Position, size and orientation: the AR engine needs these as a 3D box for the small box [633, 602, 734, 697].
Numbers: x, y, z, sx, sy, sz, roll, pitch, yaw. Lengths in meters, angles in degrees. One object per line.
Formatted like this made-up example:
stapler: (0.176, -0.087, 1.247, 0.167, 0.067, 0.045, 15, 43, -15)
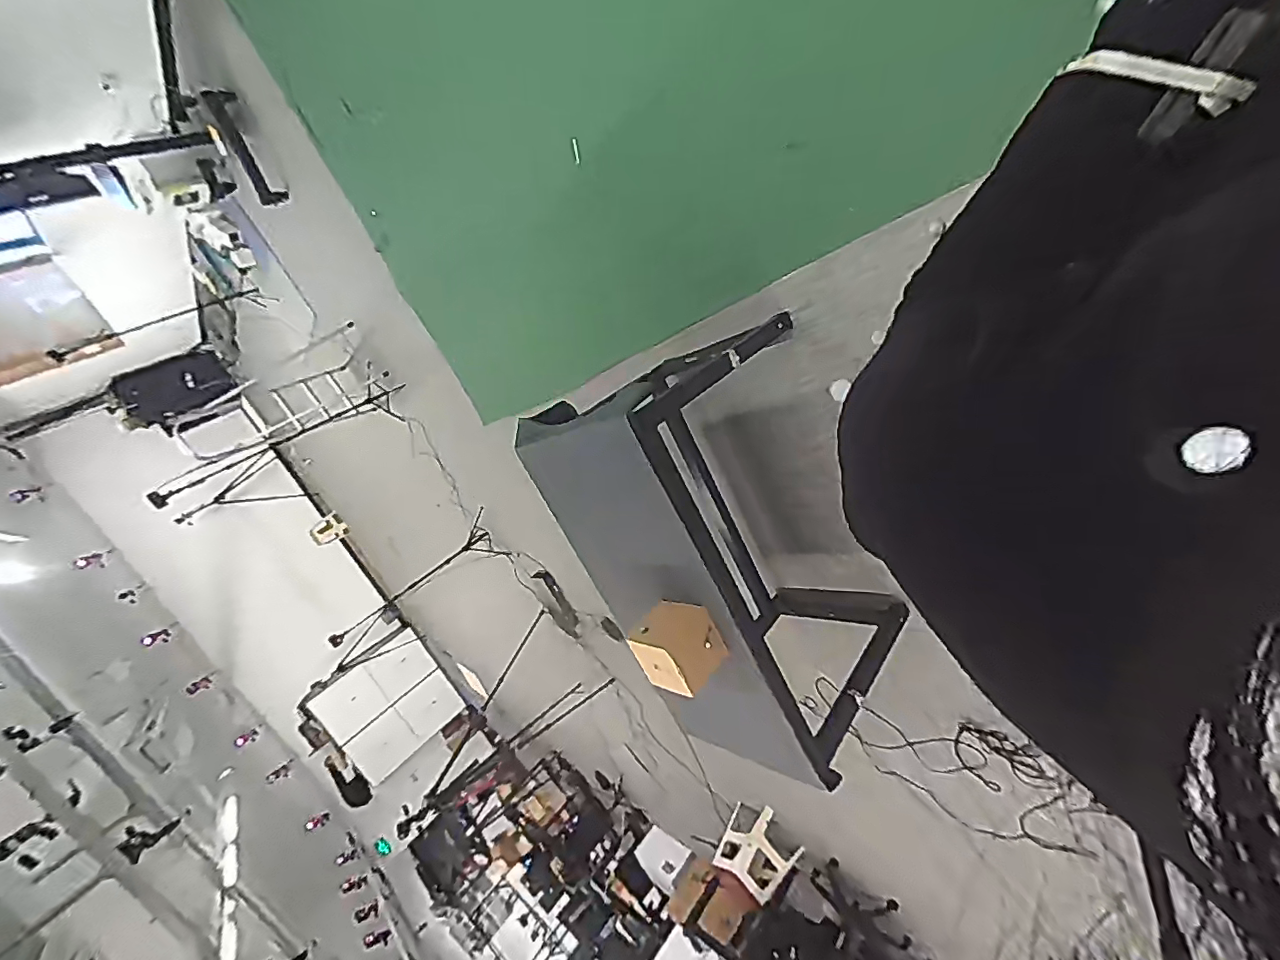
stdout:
small box: (0.120, 0.449, 1.467, 0.179, 0.176, 0.168, -8, 115, 52)
